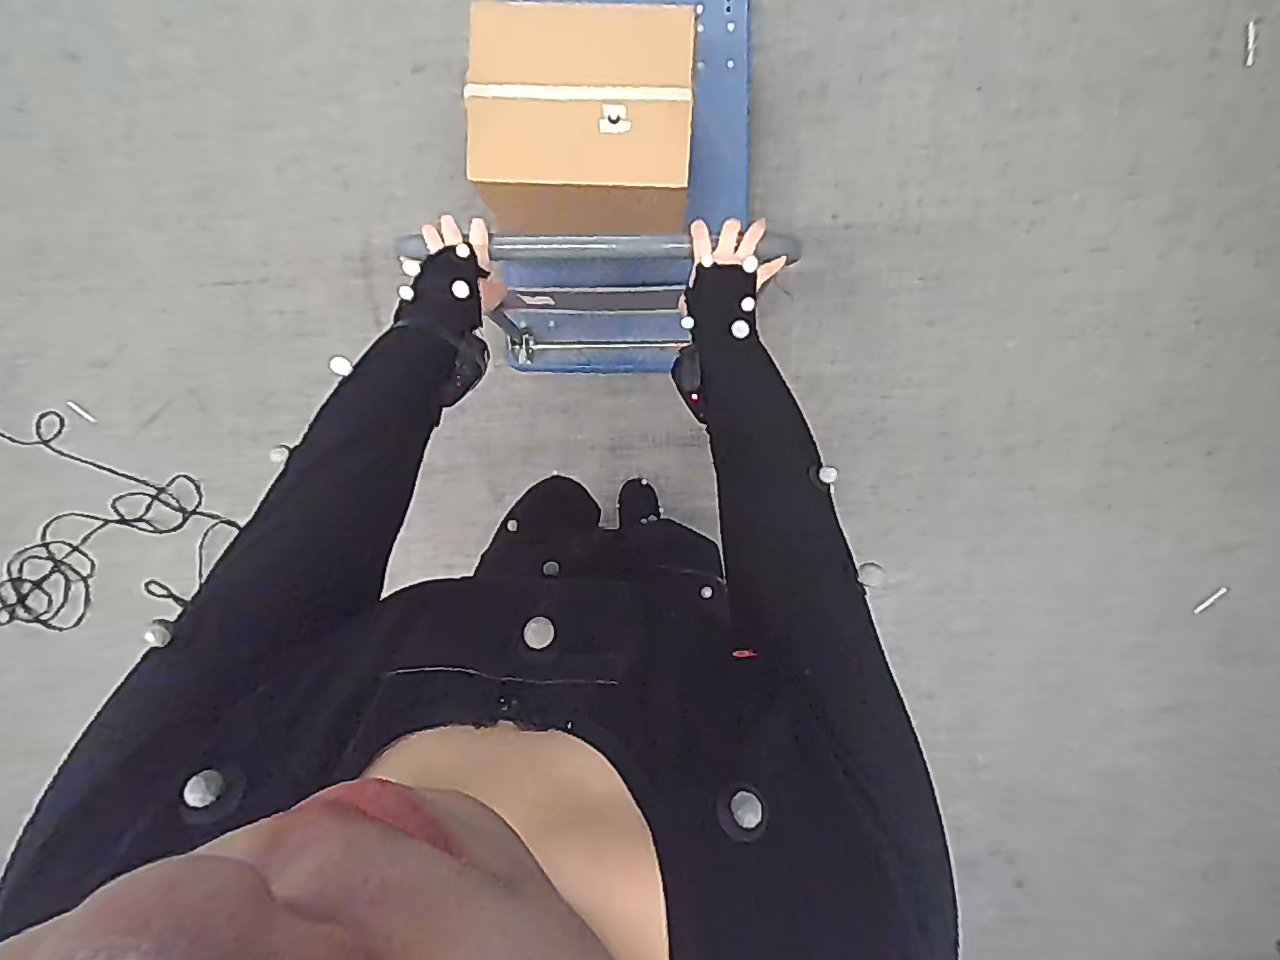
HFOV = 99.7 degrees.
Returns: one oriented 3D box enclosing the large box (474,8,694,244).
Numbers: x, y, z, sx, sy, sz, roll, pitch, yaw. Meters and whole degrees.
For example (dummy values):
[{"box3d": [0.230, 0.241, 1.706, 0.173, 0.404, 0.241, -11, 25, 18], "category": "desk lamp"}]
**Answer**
[{"box3d": [-0.104, -0.709, 1.135, 0.408, 0.320, 0.320, 2, 94, 1], "category": "large box"}]
